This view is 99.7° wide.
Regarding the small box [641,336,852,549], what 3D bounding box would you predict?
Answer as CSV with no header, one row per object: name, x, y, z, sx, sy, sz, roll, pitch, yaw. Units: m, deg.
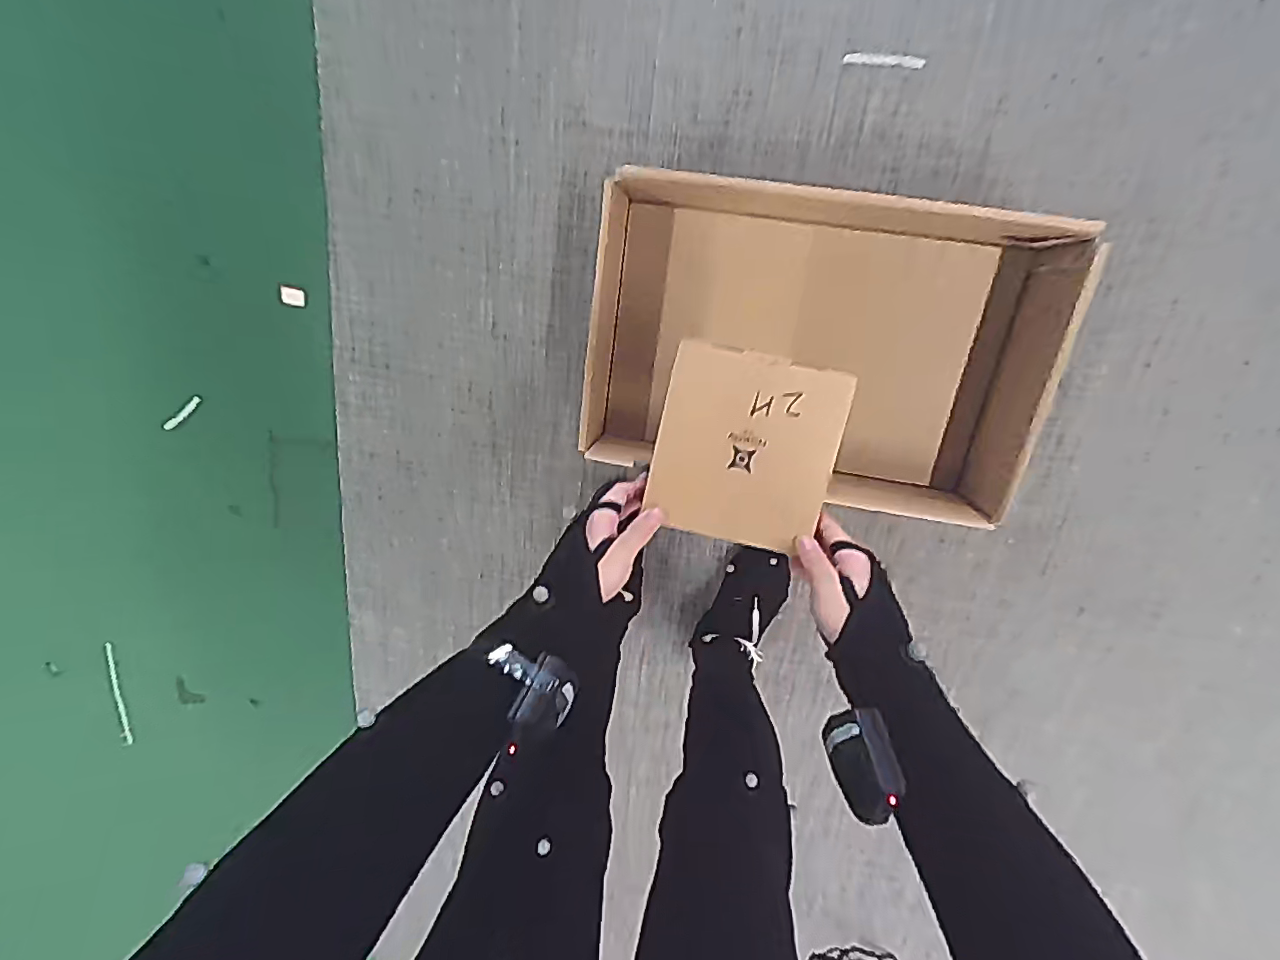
small box,0.104,-0.047,0.594,0.168,0.176,0.179,14,100,1
